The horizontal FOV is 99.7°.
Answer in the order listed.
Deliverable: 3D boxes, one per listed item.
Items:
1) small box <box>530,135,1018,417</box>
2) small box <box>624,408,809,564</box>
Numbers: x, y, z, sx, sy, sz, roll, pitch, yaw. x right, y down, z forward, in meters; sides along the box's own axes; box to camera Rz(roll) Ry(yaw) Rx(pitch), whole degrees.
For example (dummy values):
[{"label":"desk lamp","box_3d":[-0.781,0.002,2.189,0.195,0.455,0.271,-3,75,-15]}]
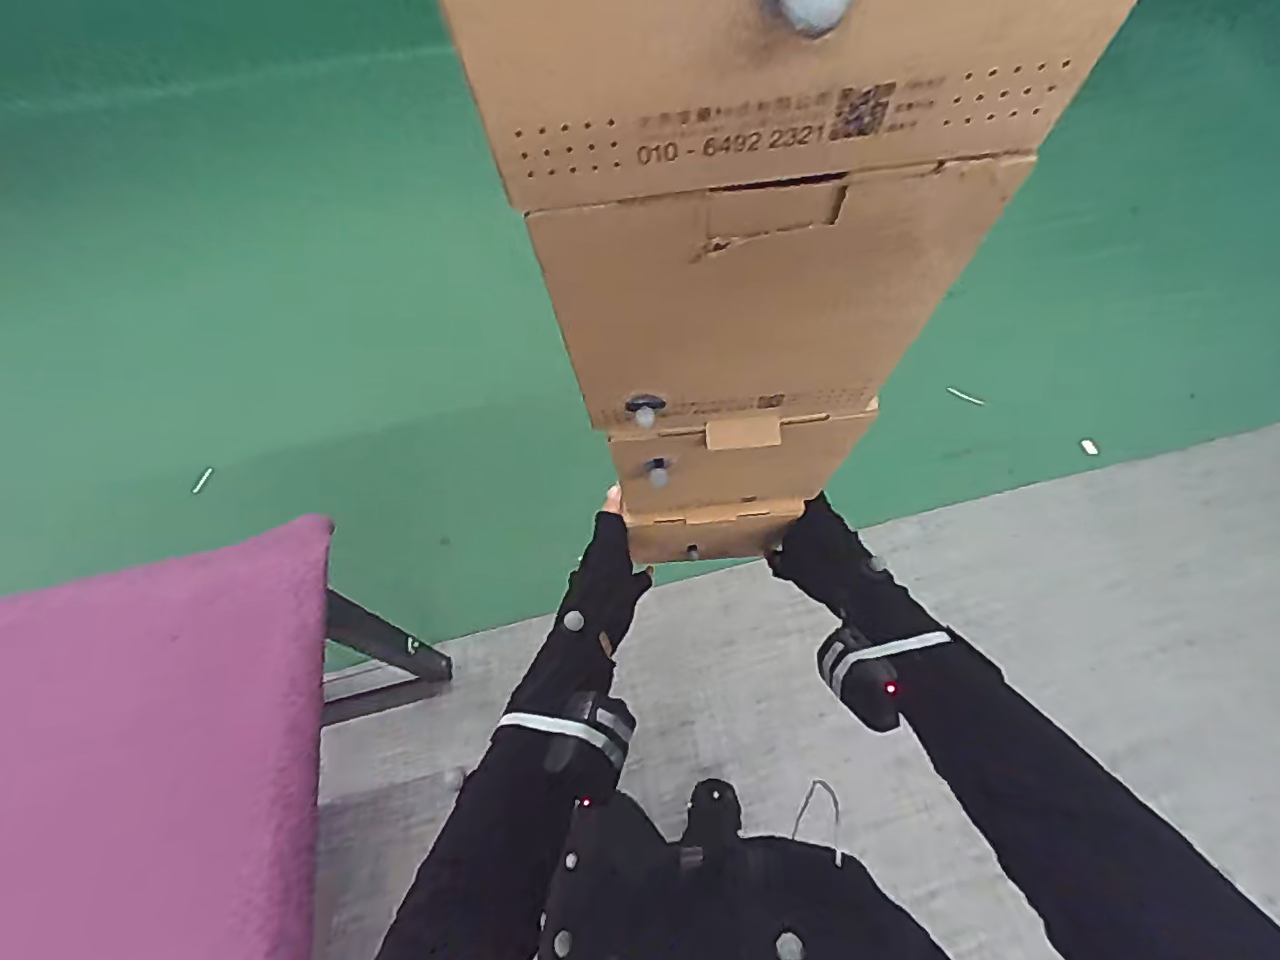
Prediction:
[{"label":"small box","box_3d":[0.045,-0.144,0.284,0.168,0.176,0.179,-5,68,2]},{"label":"small box","box_3d":[0.070,-0.014,0.586,0.168,0.176,0.179,-4,70,3]}]
